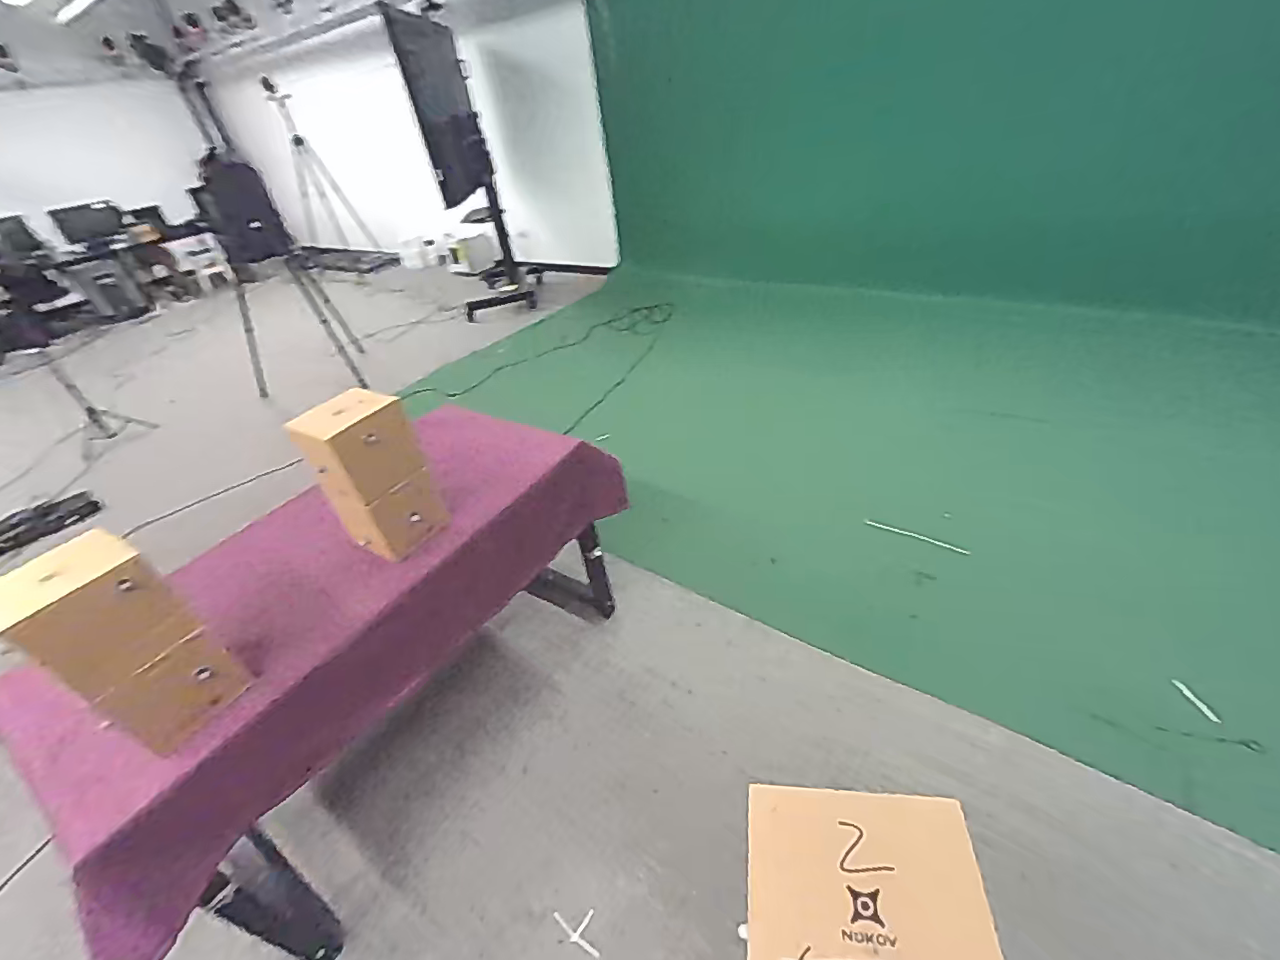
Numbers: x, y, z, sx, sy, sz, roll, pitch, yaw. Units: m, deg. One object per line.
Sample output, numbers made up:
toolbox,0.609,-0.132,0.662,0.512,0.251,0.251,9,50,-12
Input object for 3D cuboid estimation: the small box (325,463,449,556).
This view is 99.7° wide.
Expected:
small box,-0.581,0.053,1.262,0.179,0.176,0.168,17,44,30

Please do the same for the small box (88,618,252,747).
small box,-0.832,0.331,0.945,0.179,0.176,0.168,15,41,30

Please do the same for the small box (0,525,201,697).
small box,-0.856,0.203,0.847,0.168,0.176,0.179,14,40,28

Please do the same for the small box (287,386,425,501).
small box,-0.600,-0.079,1.164,0.168,0.176,0.179,16,43,30
